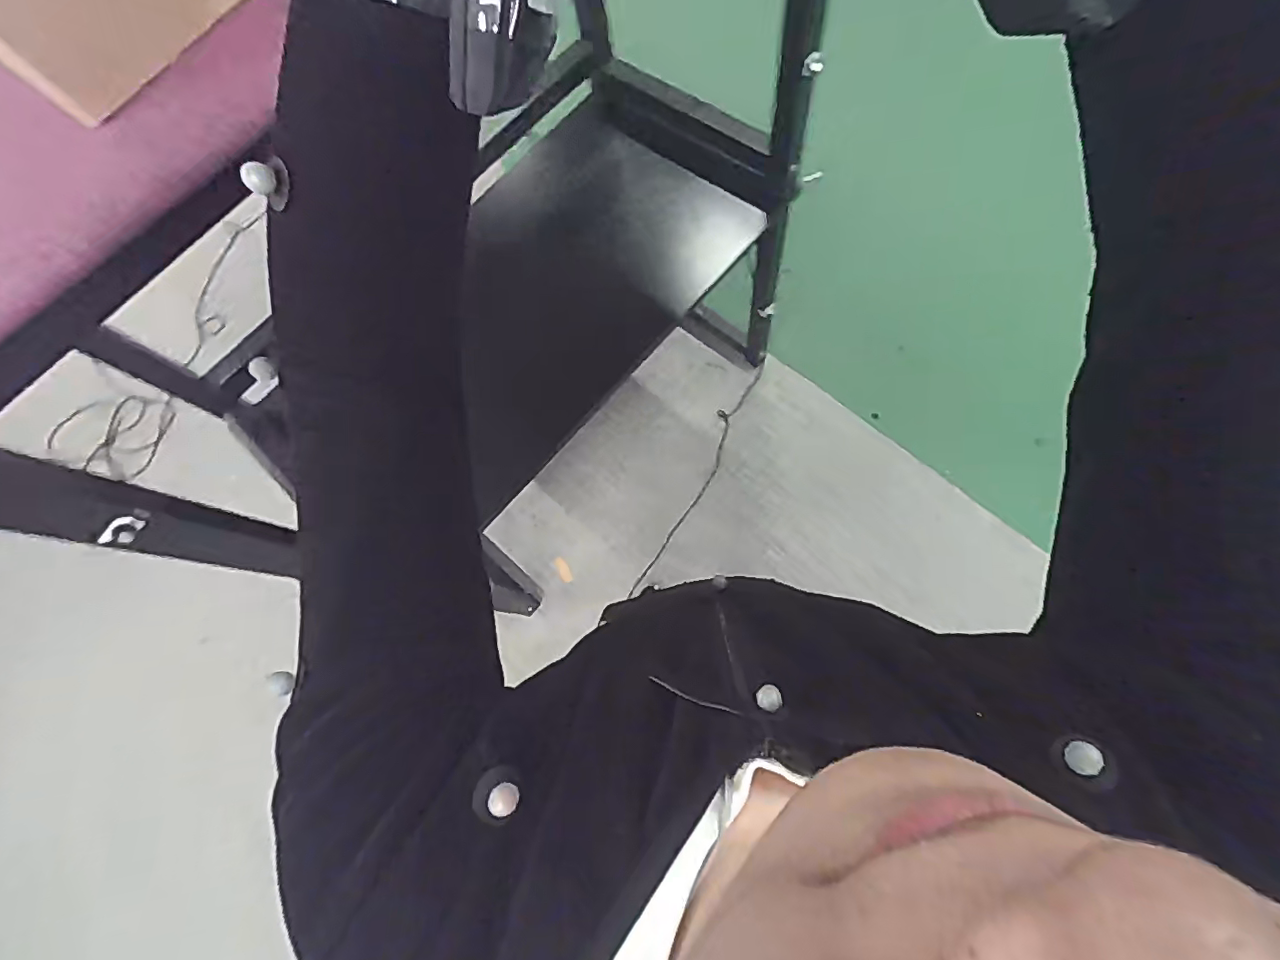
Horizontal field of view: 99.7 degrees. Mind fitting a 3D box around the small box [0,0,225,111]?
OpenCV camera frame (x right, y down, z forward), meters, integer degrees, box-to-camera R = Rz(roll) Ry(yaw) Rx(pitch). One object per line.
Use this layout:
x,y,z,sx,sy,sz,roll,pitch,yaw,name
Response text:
-0.397,-0.375,0.327,0.168,0.176,0.179,36,81,17,small box
